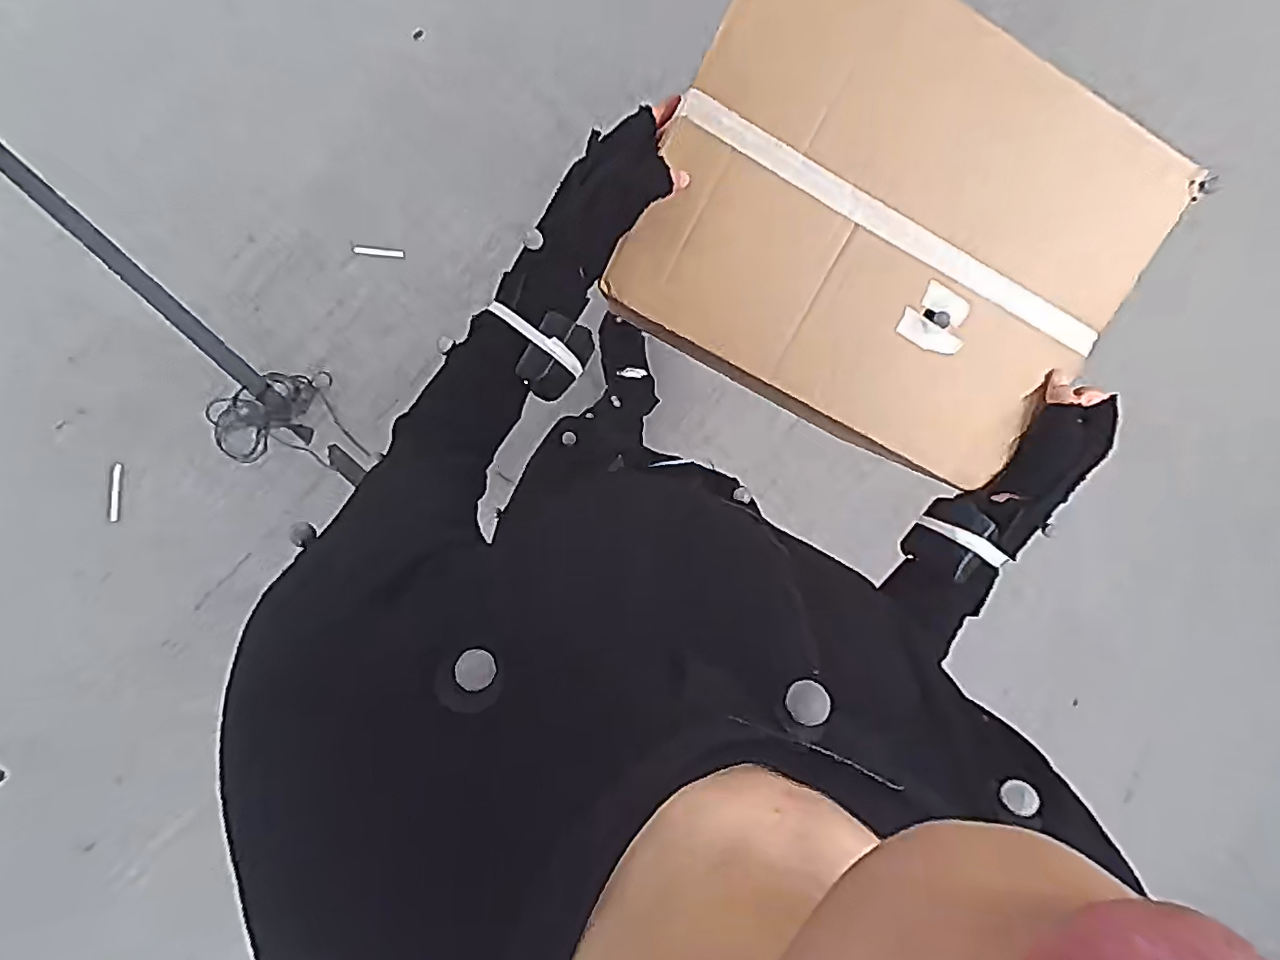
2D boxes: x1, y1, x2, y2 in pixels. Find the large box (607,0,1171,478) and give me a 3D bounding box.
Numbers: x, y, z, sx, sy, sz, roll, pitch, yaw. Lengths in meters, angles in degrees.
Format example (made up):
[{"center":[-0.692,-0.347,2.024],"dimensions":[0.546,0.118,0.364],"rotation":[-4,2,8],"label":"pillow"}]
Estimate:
[{"center":[0.205,-0.252,0.607],"dimensions":[0.408,0.320,0.320],"rotation":[27,103,-9],"label":"large box"}]
